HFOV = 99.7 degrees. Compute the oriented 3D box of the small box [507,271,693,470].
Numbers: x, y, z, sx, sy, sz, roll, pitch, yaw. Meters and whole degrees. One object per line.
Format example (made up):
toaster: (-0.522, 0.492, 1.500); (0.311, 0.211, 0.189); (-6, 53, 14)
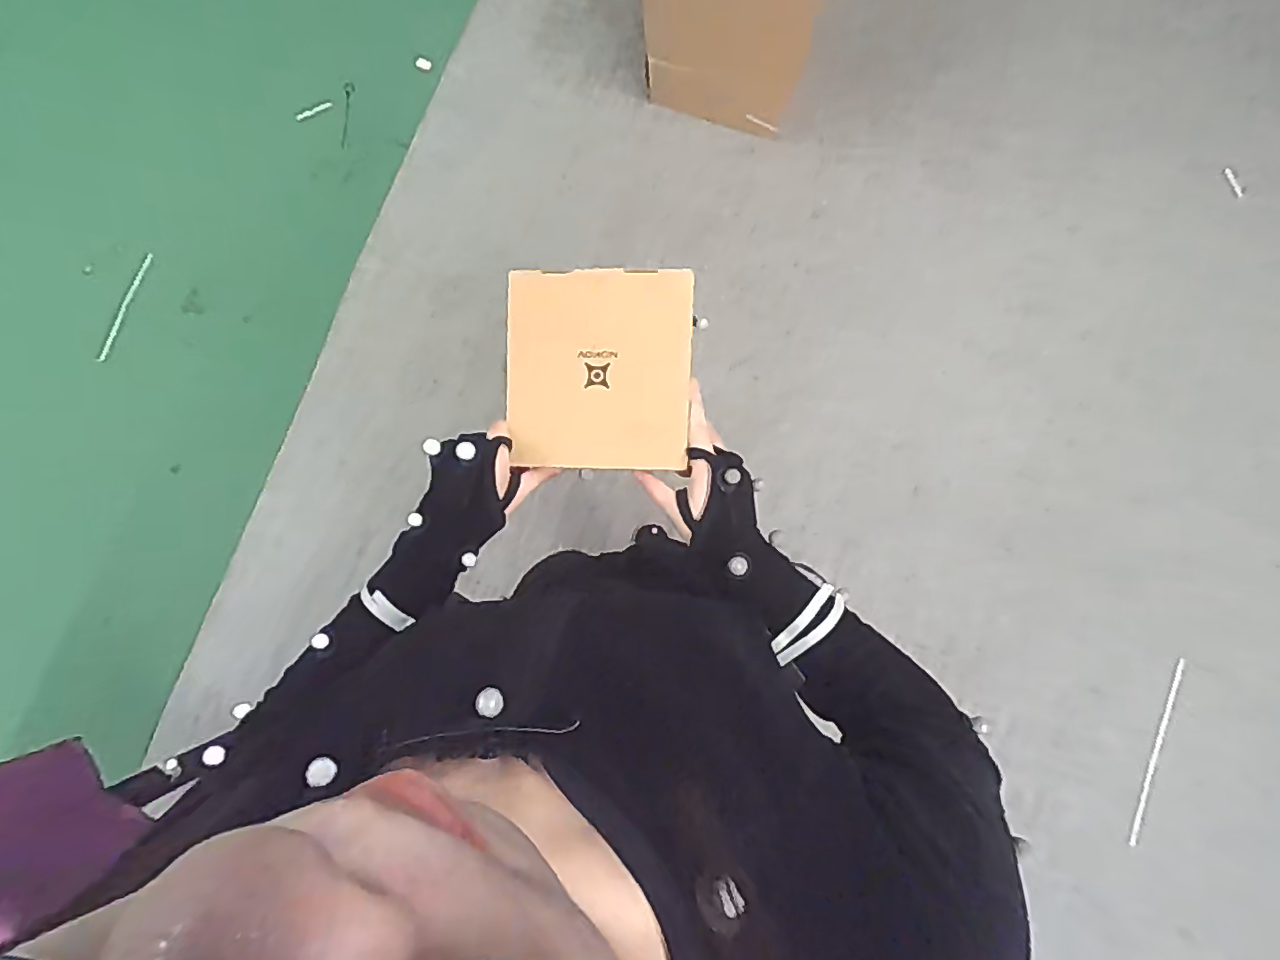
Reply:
small box: (-0.031, -0.105, 0.568); (0.168, 0.176, 0.179); (3, 93, 5)
